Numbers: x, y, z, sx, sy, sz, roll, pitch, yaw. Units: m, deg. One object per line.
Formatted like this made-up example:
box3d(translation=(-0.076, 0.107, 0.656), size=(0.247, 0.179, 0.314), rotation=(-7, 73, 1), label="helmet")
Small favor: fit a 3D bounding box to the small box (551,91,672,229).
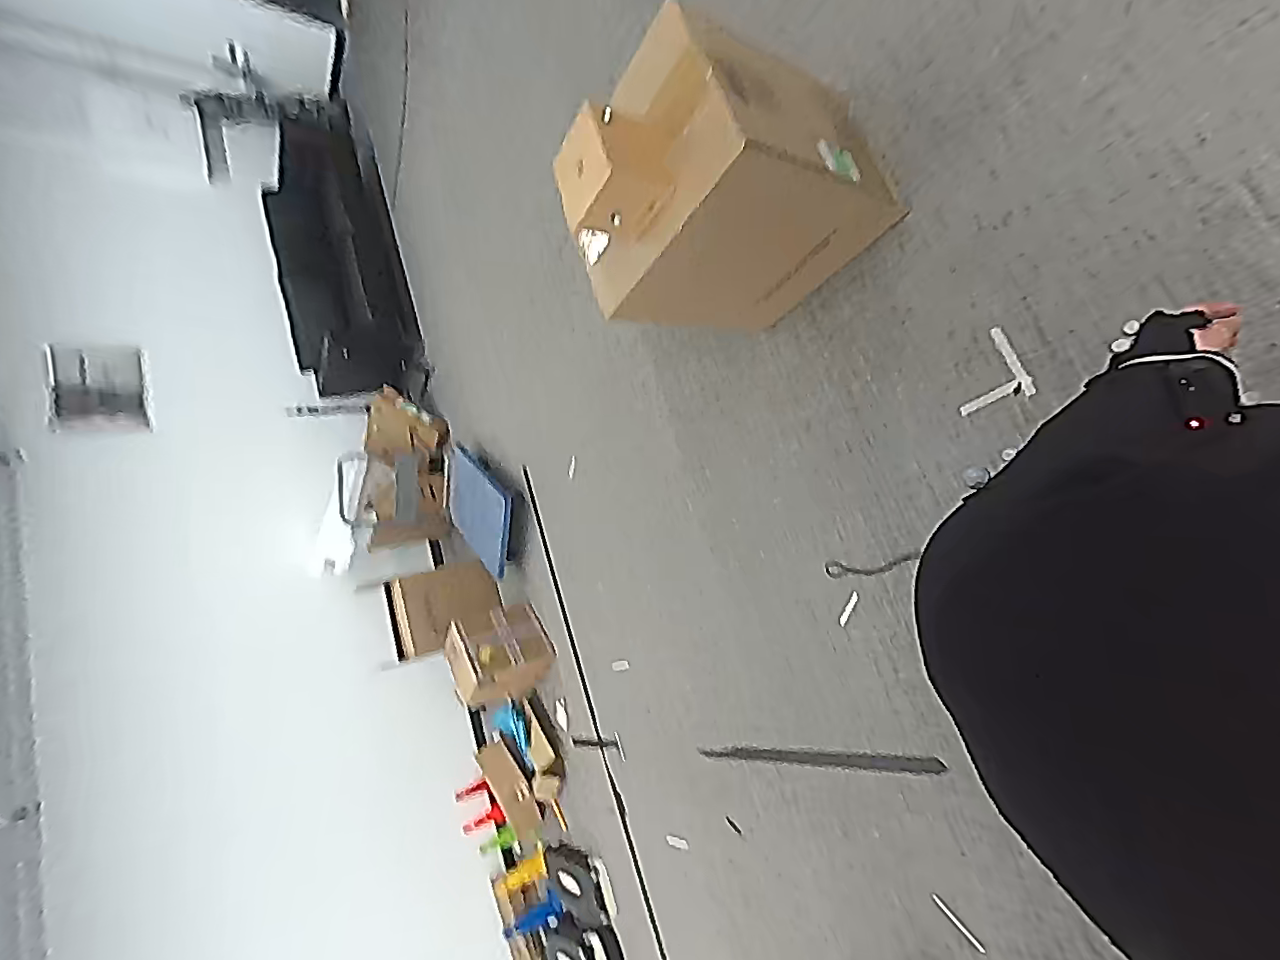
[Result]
box3d(translation=(-0.059, -0.646, 1.119), size=(0.168, 0.176, 0.179), rotation=(-33, 71, 51), label="small box")
